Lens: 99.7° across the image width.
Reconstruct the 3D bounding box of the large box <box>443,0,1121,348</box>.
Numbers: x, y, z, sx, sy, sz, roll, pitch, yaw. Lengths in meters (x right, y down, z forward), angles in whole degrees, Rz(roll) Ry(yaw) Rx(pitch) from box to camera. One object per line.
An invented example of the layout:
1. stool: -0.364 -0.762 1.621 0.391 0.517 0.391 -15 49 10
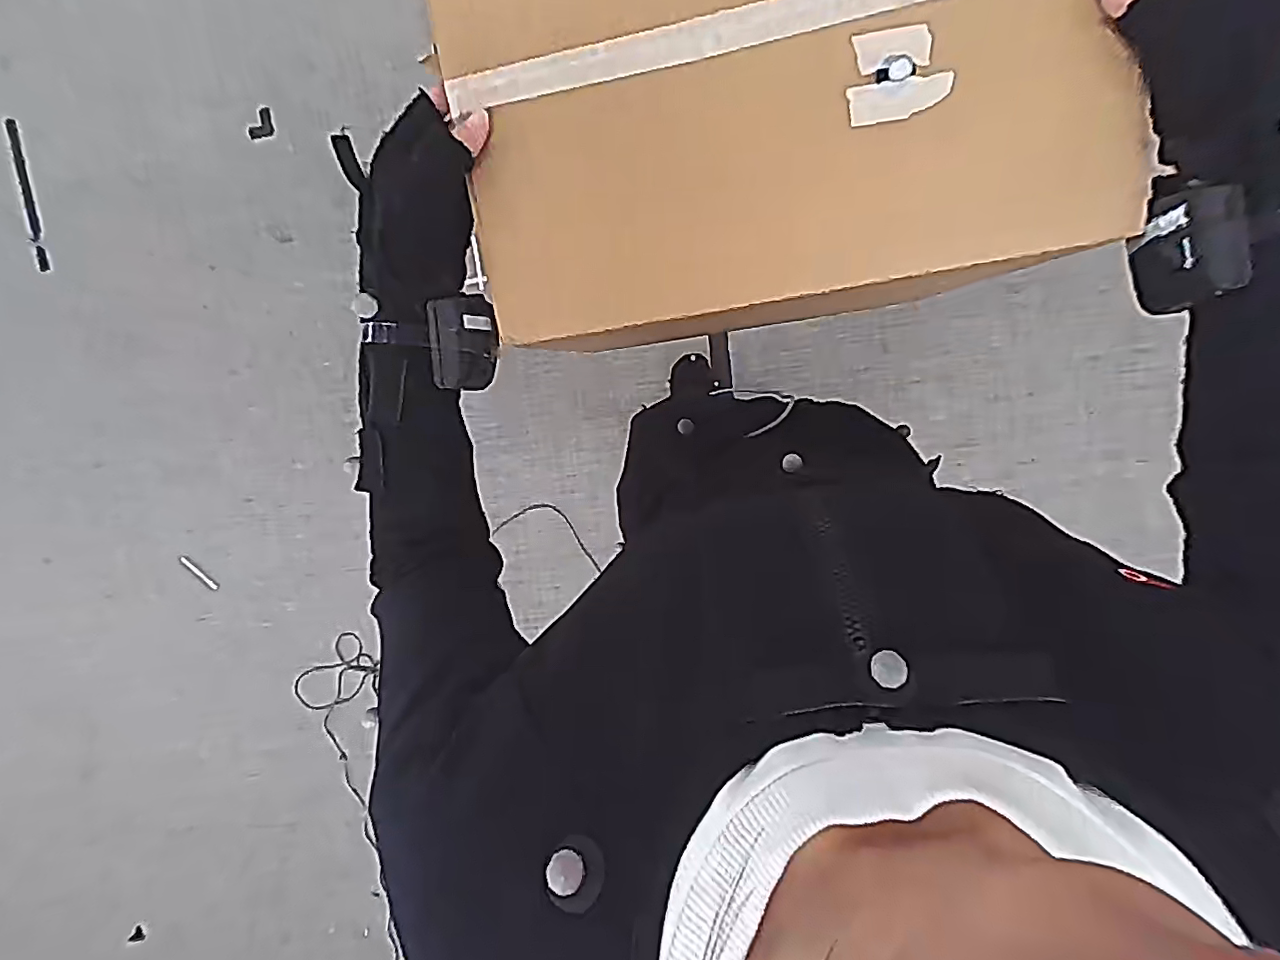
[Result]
1. large box: 0.090 -0.311 0.477 0.408 0.320 0.320 -8 102 7
